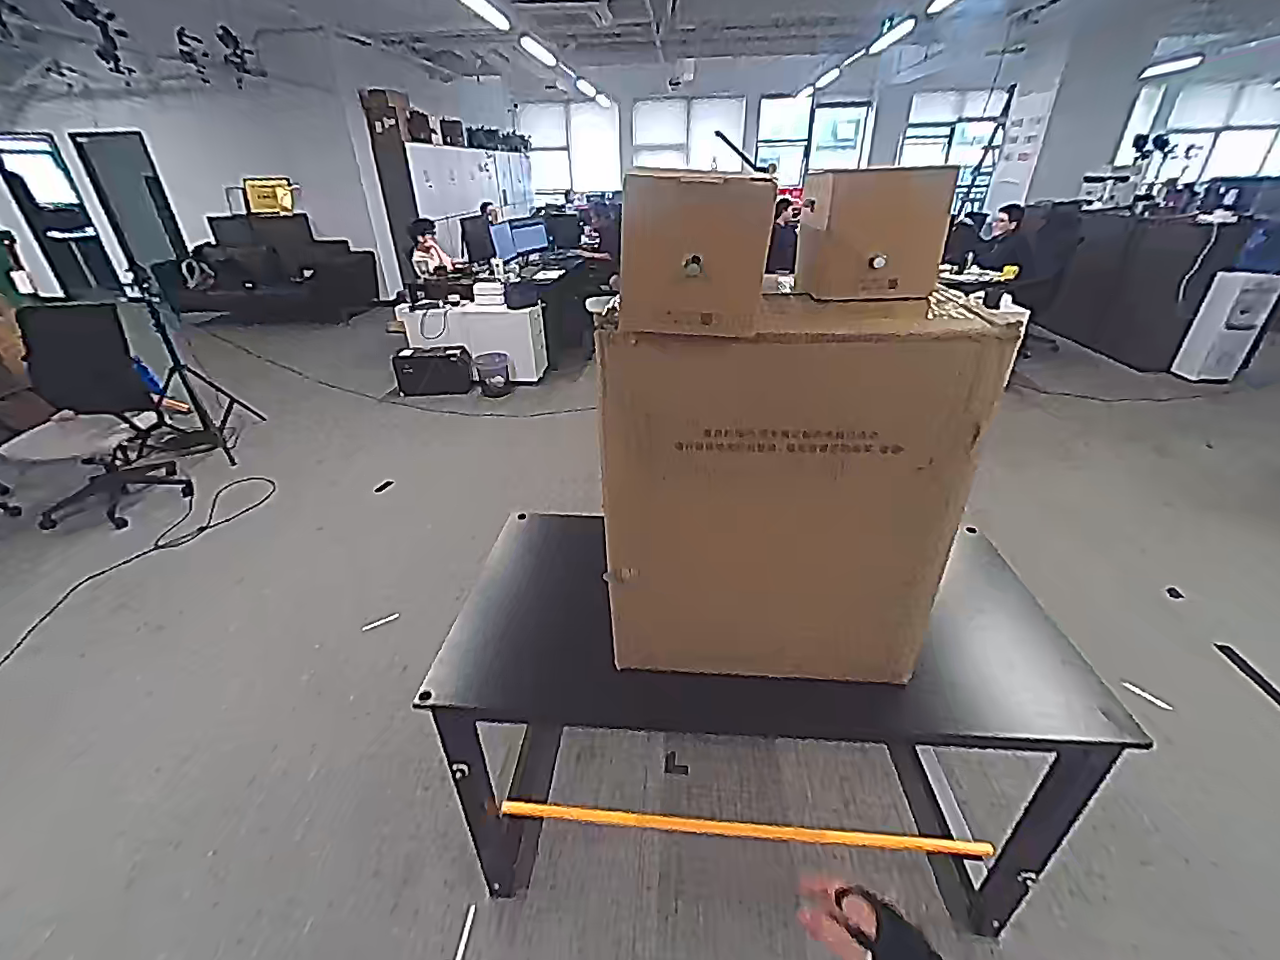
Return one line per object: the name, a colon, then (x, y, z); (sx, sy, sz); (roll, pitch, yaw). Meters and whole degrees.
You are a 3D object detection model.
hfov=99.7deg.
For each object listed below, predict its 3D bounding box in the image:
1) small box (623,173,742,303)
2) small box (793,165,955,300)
small box: (0.063, -0.382, 0.846); (0.168, 0.176, 0.179); (1, 30, 3)
small box: (0.335, -0.374, 0.815); (0.168, 0.176, 0.179); (-1, 29, 4)
